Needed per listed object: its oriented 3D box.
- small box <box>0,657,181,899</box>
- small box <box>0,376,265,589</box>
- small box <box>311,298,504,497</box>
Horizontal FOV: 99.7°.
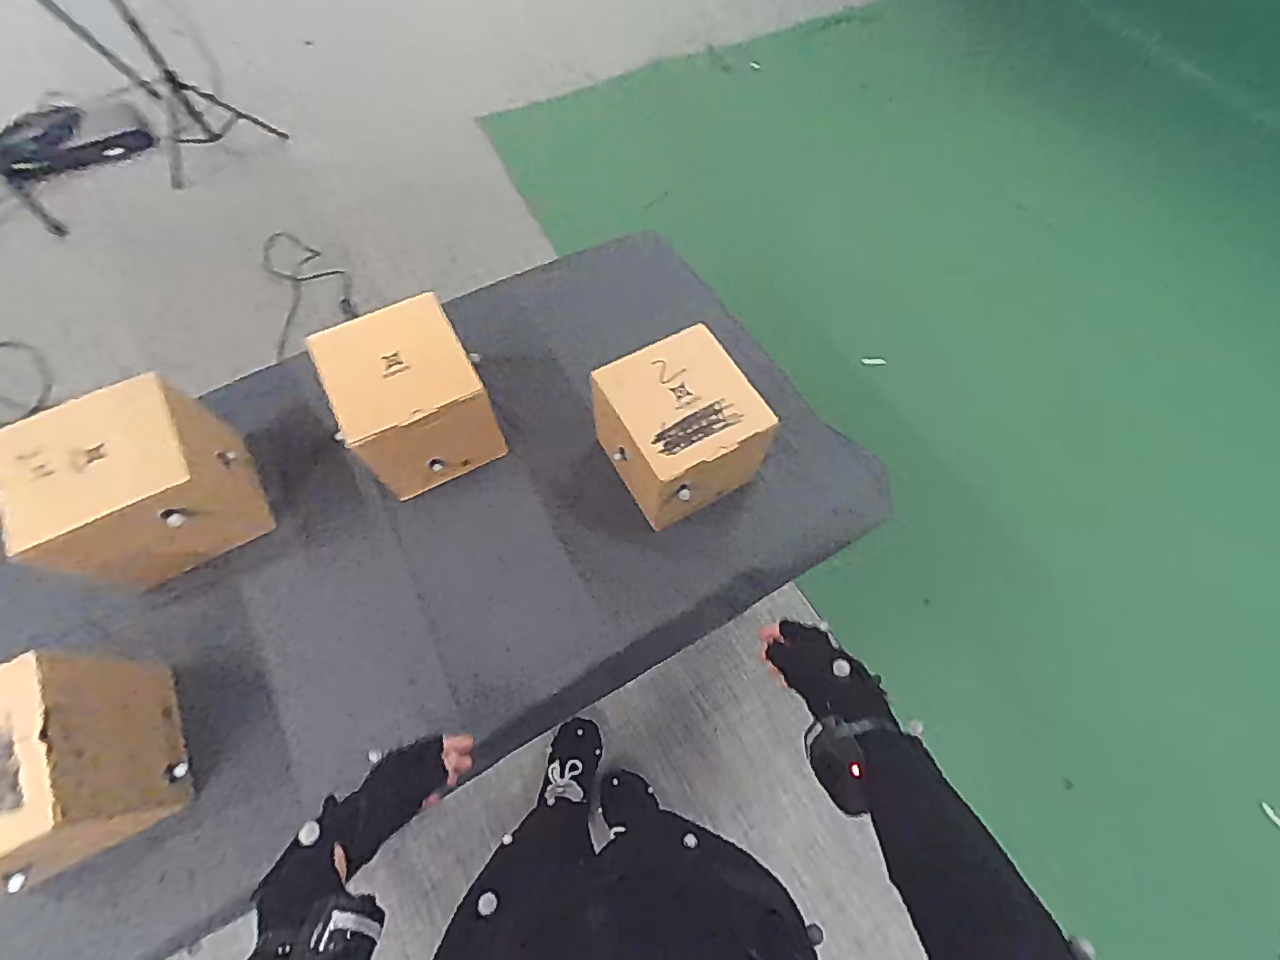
[{"bbox_3d":[-0.604,0.297,0.535,0.179,0.176,0.168,-26,69,-13],"label":"small box"},{"bbox_3d":[-0.601,0.010,0.663,0.179,0.176,0.168,-28,71,-14],"label":"small box"},{"bbox_3d":[-0.303,-0.105,0.735,0.168,0.176,0.179,-27,70,-14],"label":"small box"}]
